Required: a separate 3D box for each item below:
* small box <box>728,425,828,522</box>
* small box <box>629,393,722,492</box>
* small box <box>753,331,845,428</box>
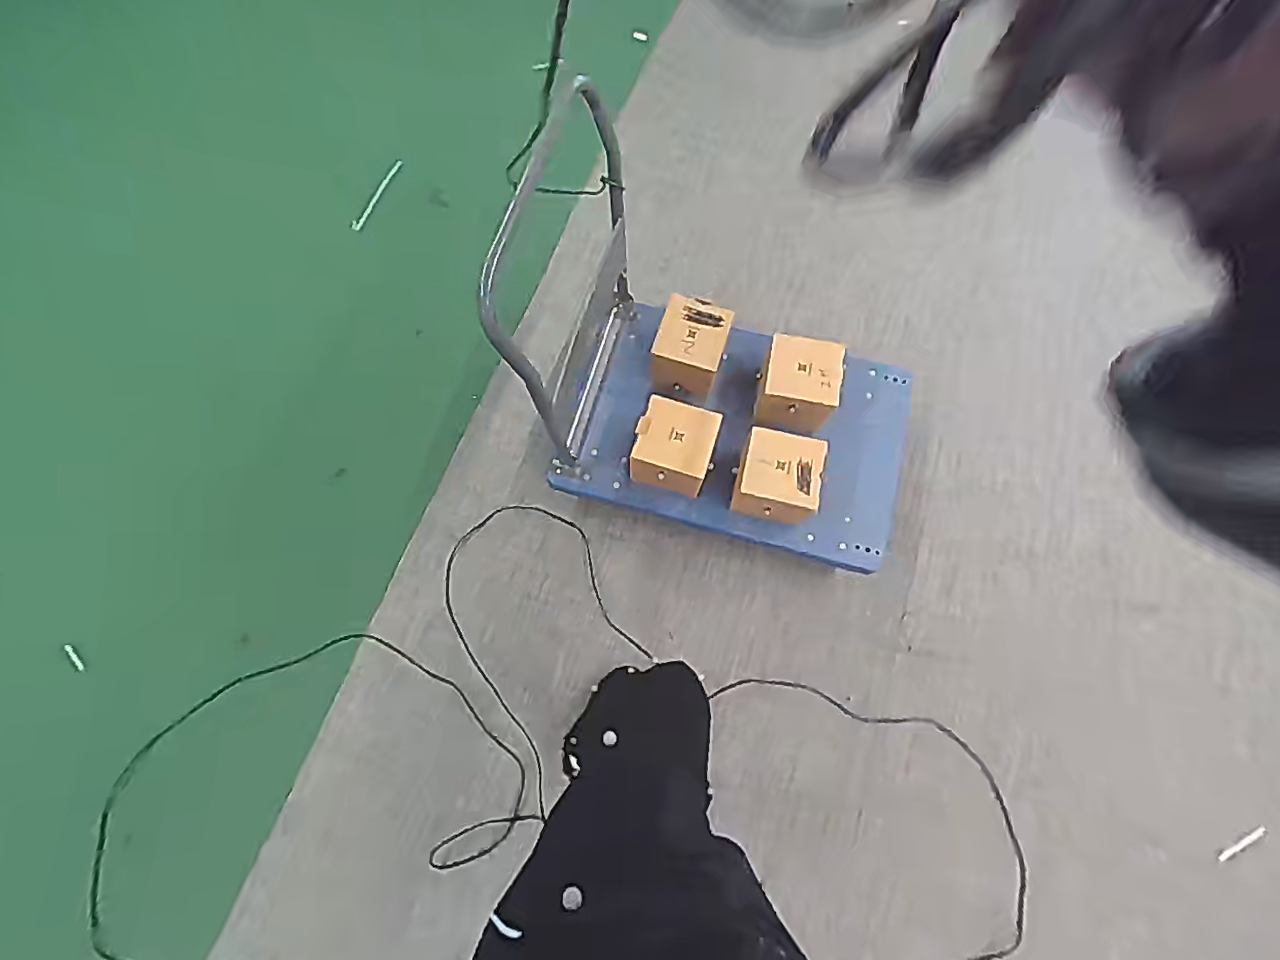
[{"bbox_3d":[0.320,-0.009,1.279,0.179,0.176,0.168,14,73,5],"label":"small box"},{"bbox_3d":[0.083,-0.082,1.304,0.179,0.176,0.168,17,74,6],"label":"small box"},{"bbox_3d":[0.389,-0.243,1.350,0.179,0.176,0.168,12,74,4],"label":"small box"}]
